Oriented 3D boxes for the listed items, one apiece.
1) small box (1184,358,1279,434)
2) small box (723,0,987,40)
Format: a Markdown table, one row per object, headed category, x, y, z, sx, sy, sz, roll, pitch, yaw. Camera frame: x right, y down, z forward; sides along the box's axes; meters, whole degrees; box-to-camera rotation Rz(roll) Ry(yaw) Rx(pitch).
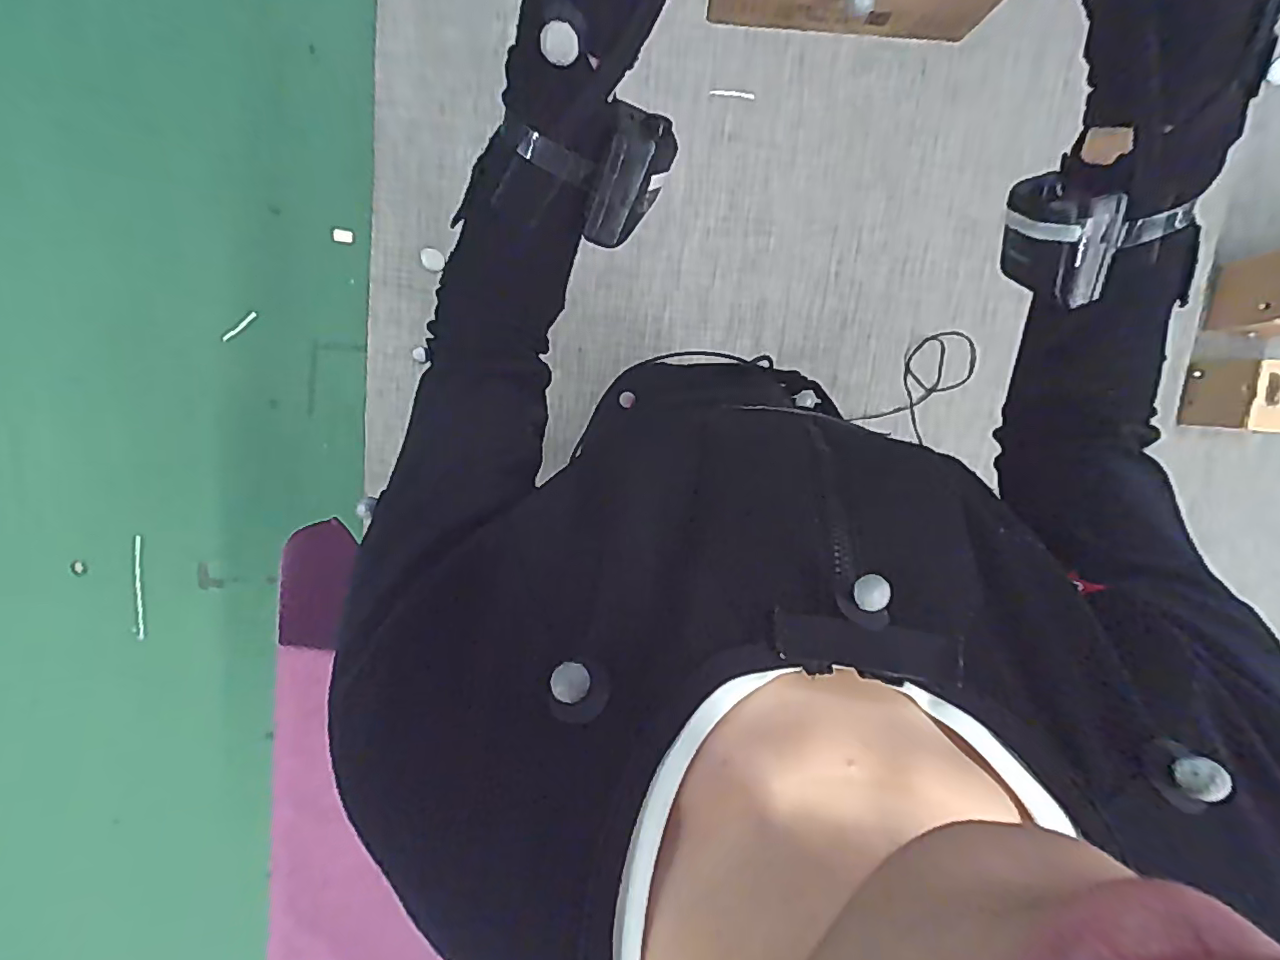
| category | x | y | z | sx | sy | sz | roll | pitch | yaw |
| --- | --- | --- | --- | --- | --- | --- | --- | --- | --- |
| small box | 1.501 | -0.199 | 1.317 | 0.179 | 0.176 | 0.168 | 5 | 99 | 0 |
| small box | 0.129 | -0.355 | 0.250 | 0.168 | 0.176 | 0.179 | 5 | 105 | 1 |
